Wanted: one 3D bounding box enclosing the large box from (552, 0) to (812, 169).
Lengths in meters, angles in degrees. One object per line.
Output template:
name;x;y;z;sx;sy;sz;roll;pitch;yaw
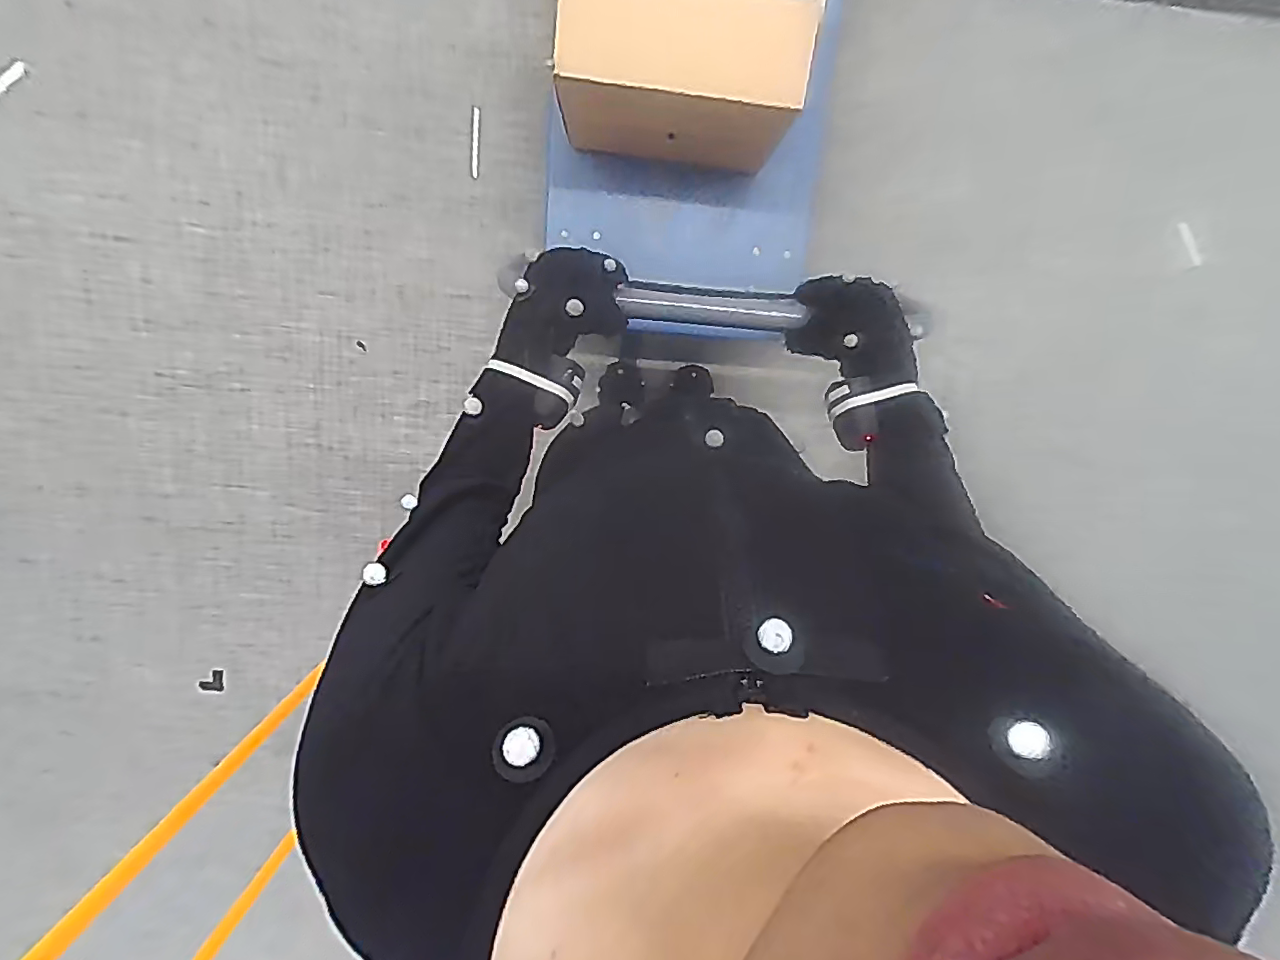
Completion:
large box;0.071;-0.793;0.978;0.408;0.320;0.320;6;102;-2

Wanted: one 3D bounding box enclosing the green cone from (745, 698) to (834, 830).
green cone;0.439;0.799;1.486;0.202;0.368;0.200;8;102;-4
